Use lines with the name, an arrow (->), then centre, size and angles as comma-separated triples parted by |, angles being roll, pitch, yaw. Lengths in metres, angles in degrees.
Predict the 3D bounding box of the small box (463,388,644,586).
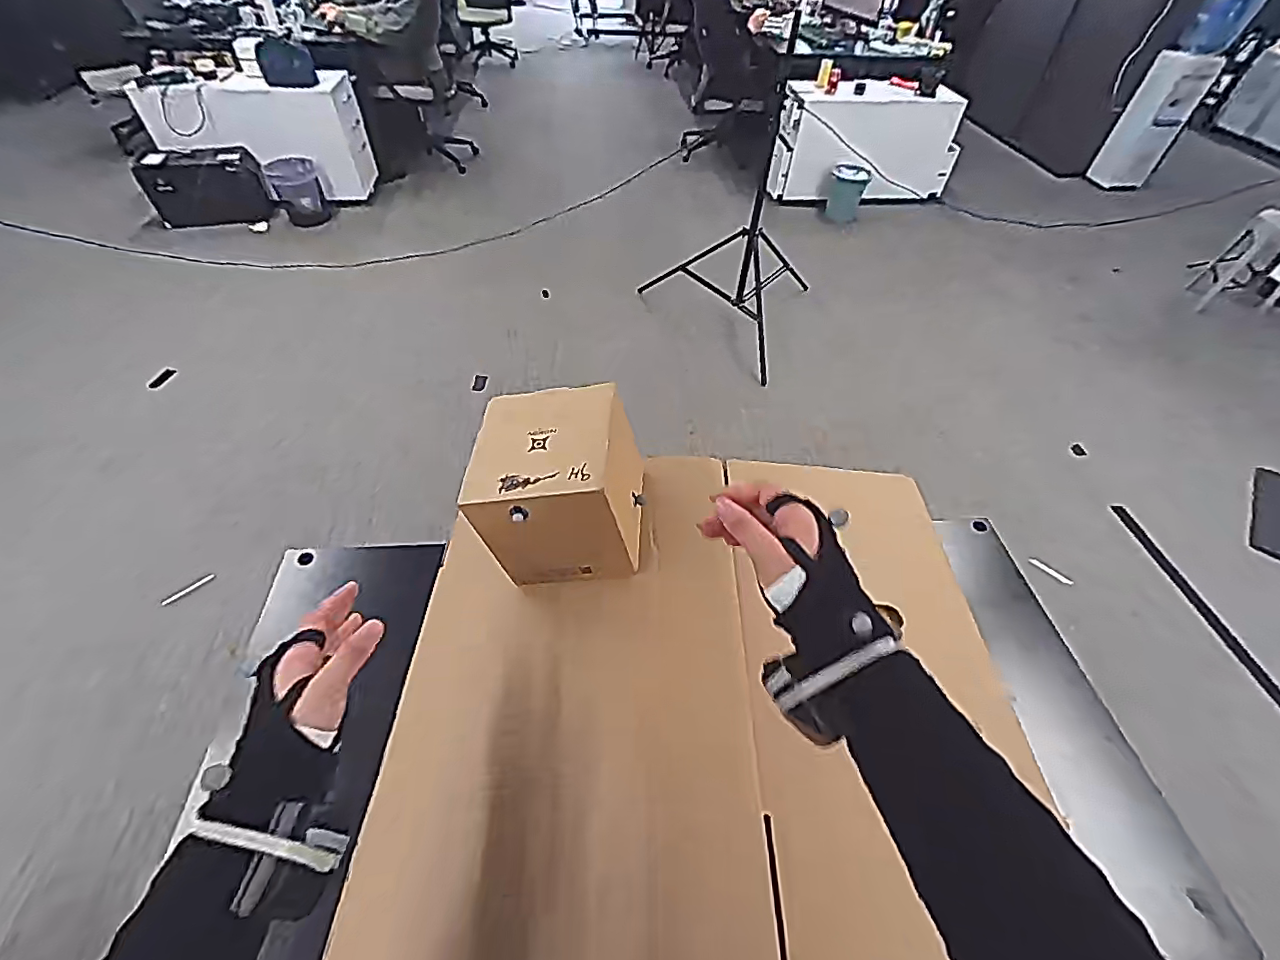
small box -> -0.092, 0.011, 0.679 | 0.168, 0.176, 0.179 | -7, 47, 11
